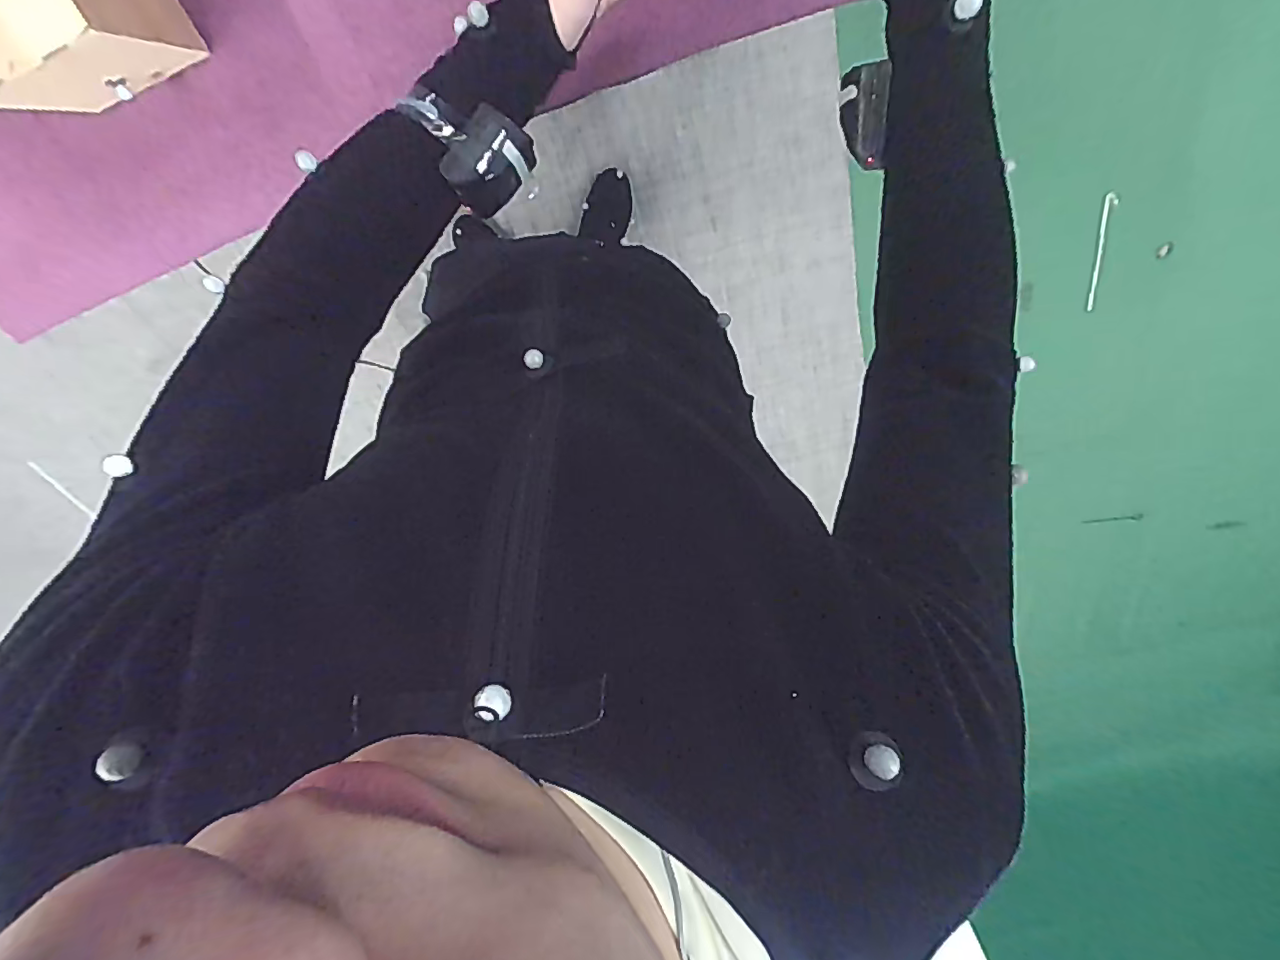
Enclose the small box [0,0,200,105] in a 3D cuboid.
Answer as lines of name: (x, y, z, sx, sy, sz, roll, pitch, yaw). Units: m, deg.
small box: (-0.581, -0.476, 0.499, 0.168, 0.176, 0.179, -18, 123, 8)
